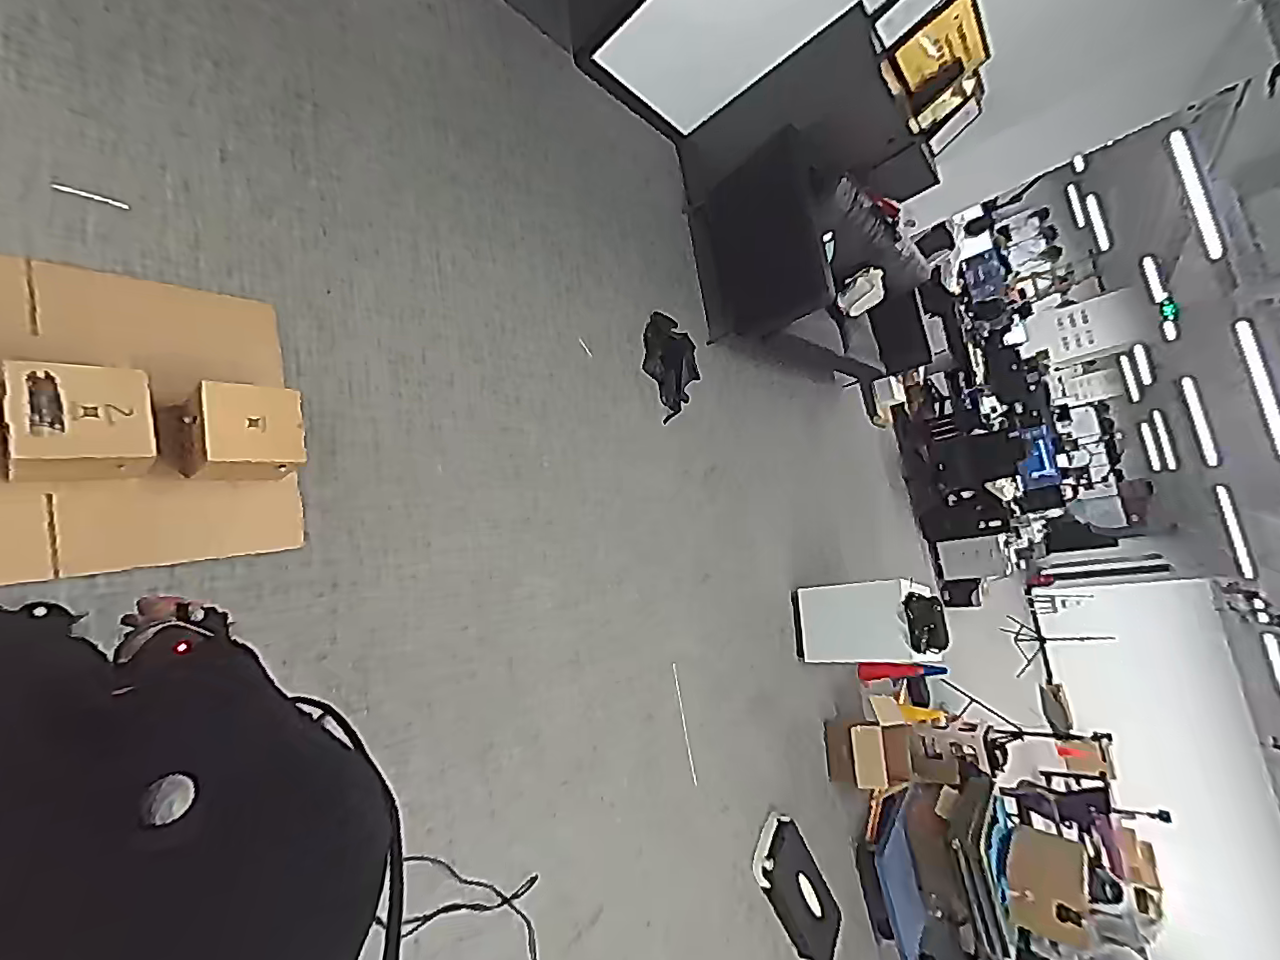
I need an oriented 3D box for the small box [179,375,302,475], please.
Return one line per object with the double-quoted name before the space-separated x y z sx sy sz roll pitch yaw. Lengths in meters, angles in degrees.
"small box" -0.849 -0.107 1.144 0.179 0.176 0.168 -1 78 -51
